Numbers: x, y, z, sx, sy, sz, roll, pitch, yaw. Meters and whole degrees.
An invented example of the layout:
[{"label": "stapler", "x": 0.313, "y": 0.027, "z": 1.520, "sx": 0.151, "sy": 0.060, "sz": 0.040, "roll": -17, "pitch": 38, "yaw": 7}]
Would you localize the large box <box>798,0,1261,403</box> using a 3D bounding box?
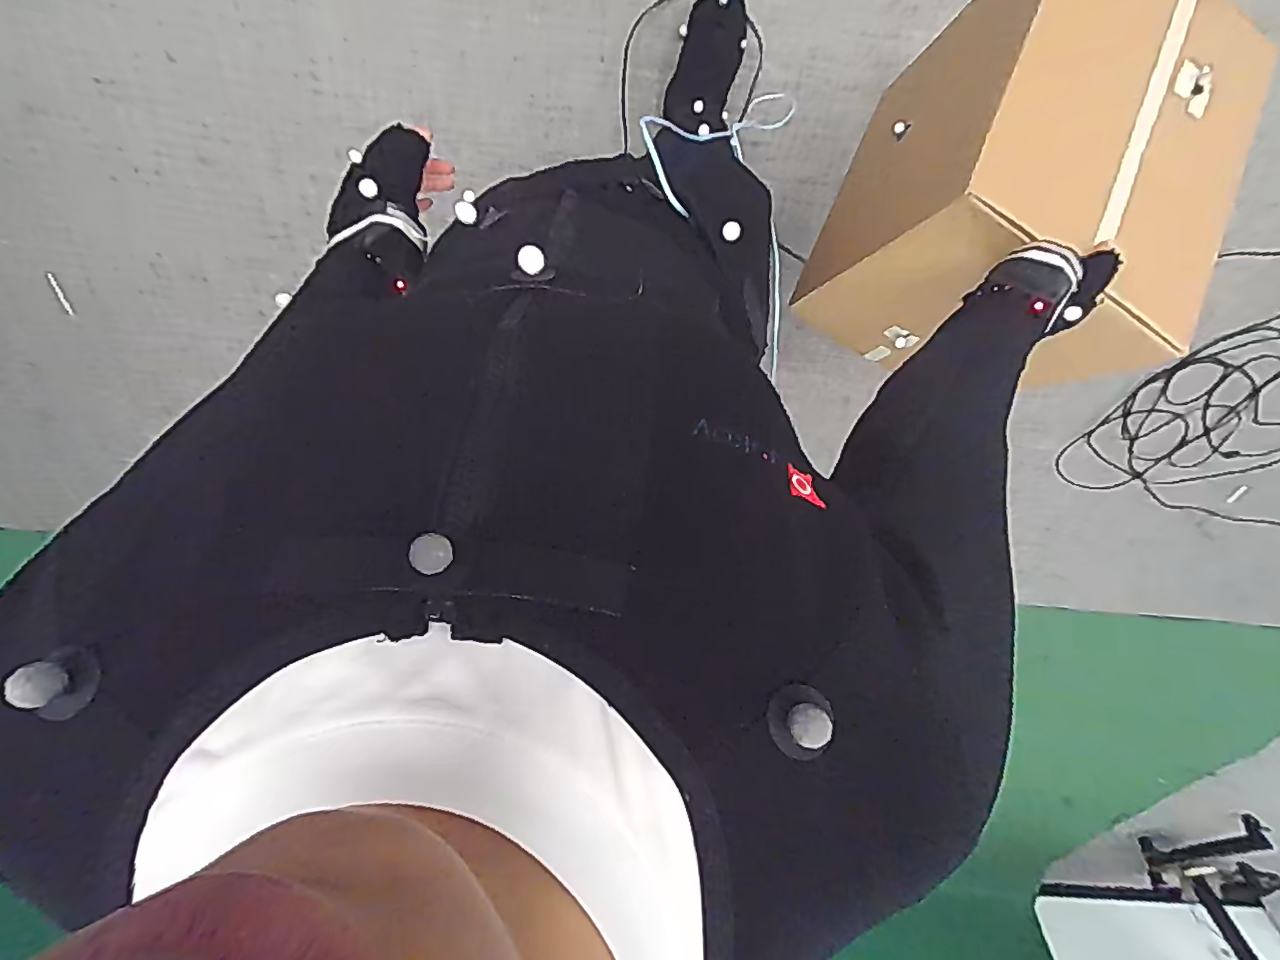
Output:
[{"label": "large box", "x": 0.473, "y": -0.364, "z": 0.710, "sx": 0.320, "sy": 0.320, "sz": 0.408, "roll": 26, "pitch": 81, "yaw": -14}]
